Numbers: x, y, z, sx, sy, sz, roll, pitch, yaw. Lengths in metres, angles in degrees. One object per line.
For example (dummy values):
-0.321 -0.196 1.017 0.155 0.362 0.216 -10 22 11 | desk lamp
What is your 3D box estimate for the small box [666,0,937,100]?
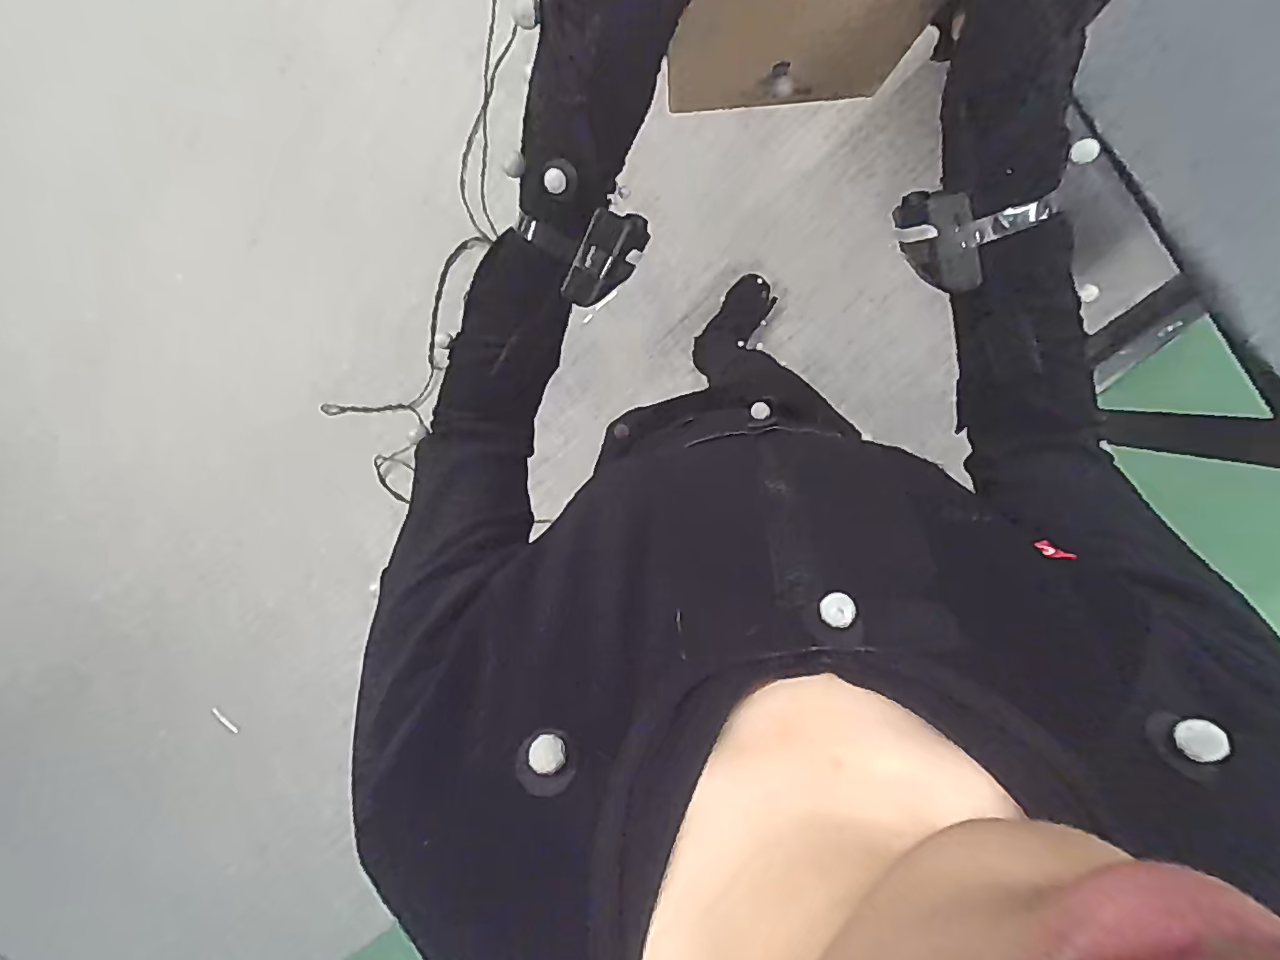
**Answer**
0.099 -0.377 0.337 0.168 0.176 0.179 -1 103 4 | small box
